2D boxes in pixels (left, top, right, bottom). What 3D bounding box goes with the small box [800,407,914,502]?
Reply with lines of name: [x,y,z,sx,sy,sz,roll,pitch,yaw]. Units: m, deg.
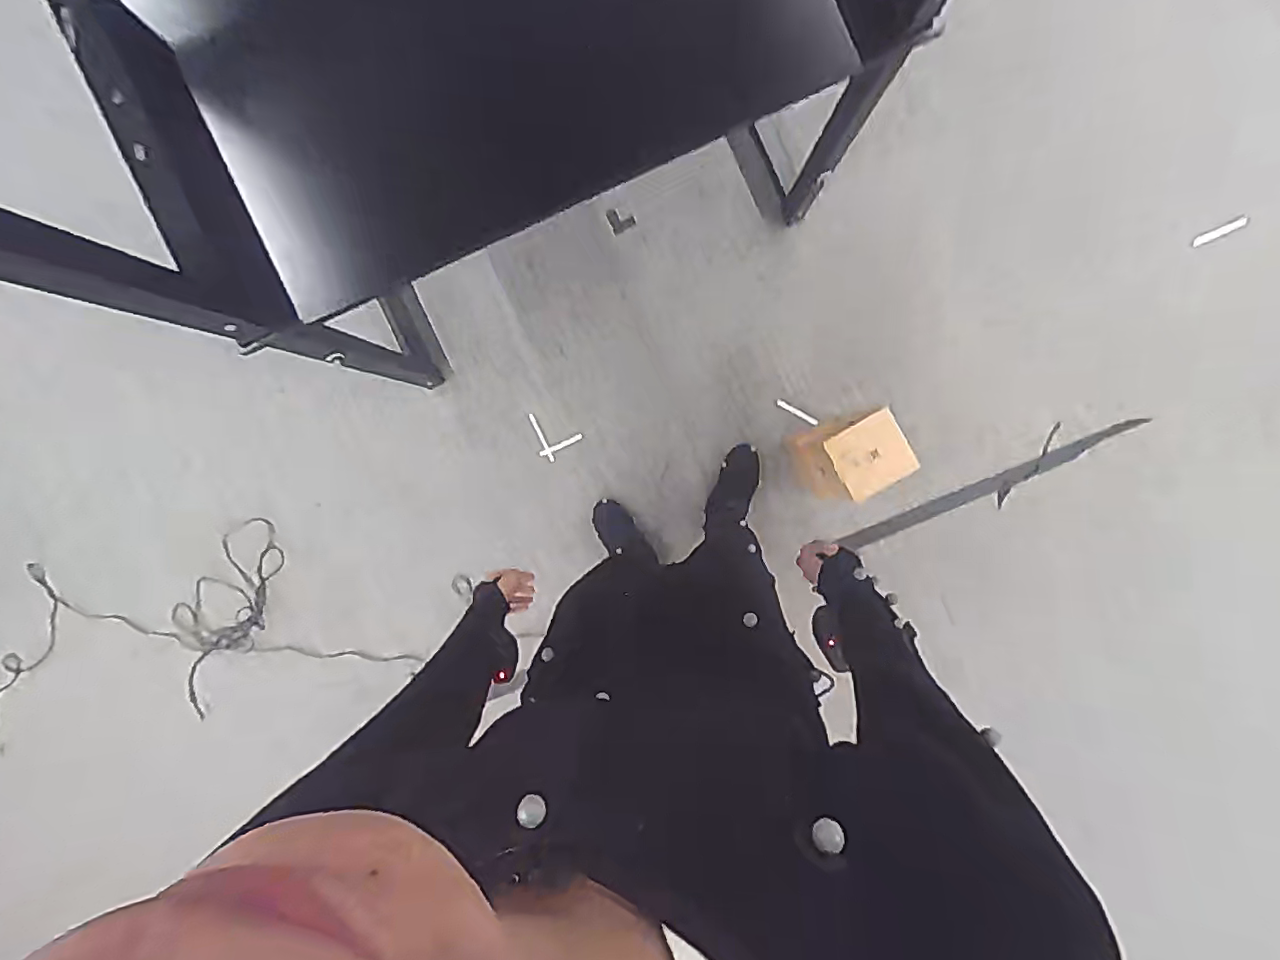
small box: [0.528,-0.067,1.339,0.179,0.176,0.168,-29,93,3]
